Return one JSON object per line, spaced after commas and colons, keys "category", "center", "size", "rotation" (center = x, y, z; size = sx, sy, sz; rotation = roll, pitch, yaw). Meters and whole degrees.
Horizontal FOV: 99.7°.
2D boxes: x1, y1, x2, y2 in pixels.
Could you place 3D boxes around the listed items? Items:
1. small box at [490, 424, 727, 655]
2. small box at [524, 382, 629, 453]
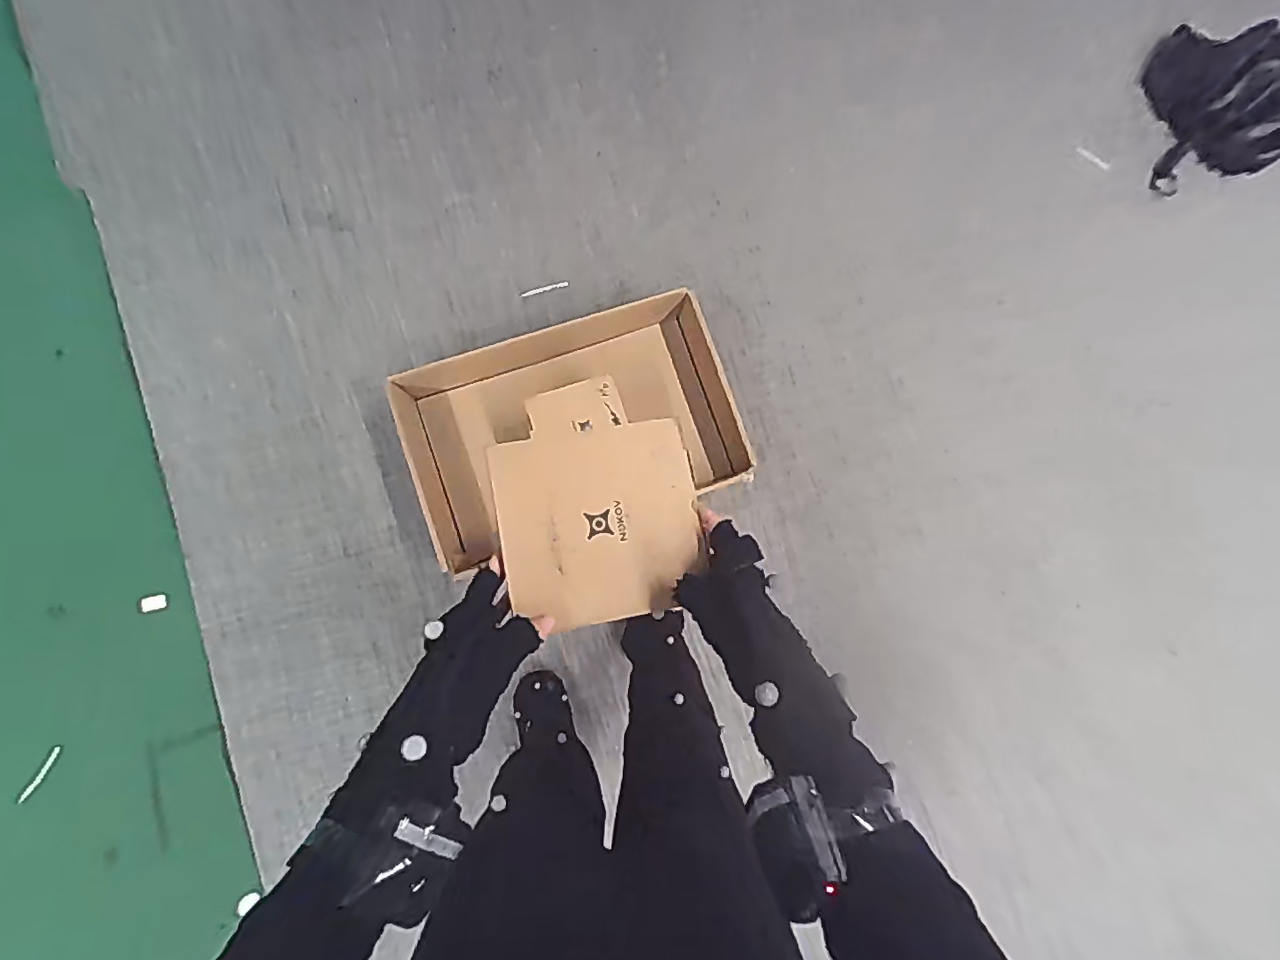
{"category": "small box", "center": [-0.039, 0.056, 0.538], "size": [0.179, 0.176, 0.168], "rotation": [-14, 84, -11]}
{"category": "small box", "center": [-0.113, -0.072, 1.084], "size": [0.179, 0.176, 0.168], "rotation": [-21, 84, -6]}
